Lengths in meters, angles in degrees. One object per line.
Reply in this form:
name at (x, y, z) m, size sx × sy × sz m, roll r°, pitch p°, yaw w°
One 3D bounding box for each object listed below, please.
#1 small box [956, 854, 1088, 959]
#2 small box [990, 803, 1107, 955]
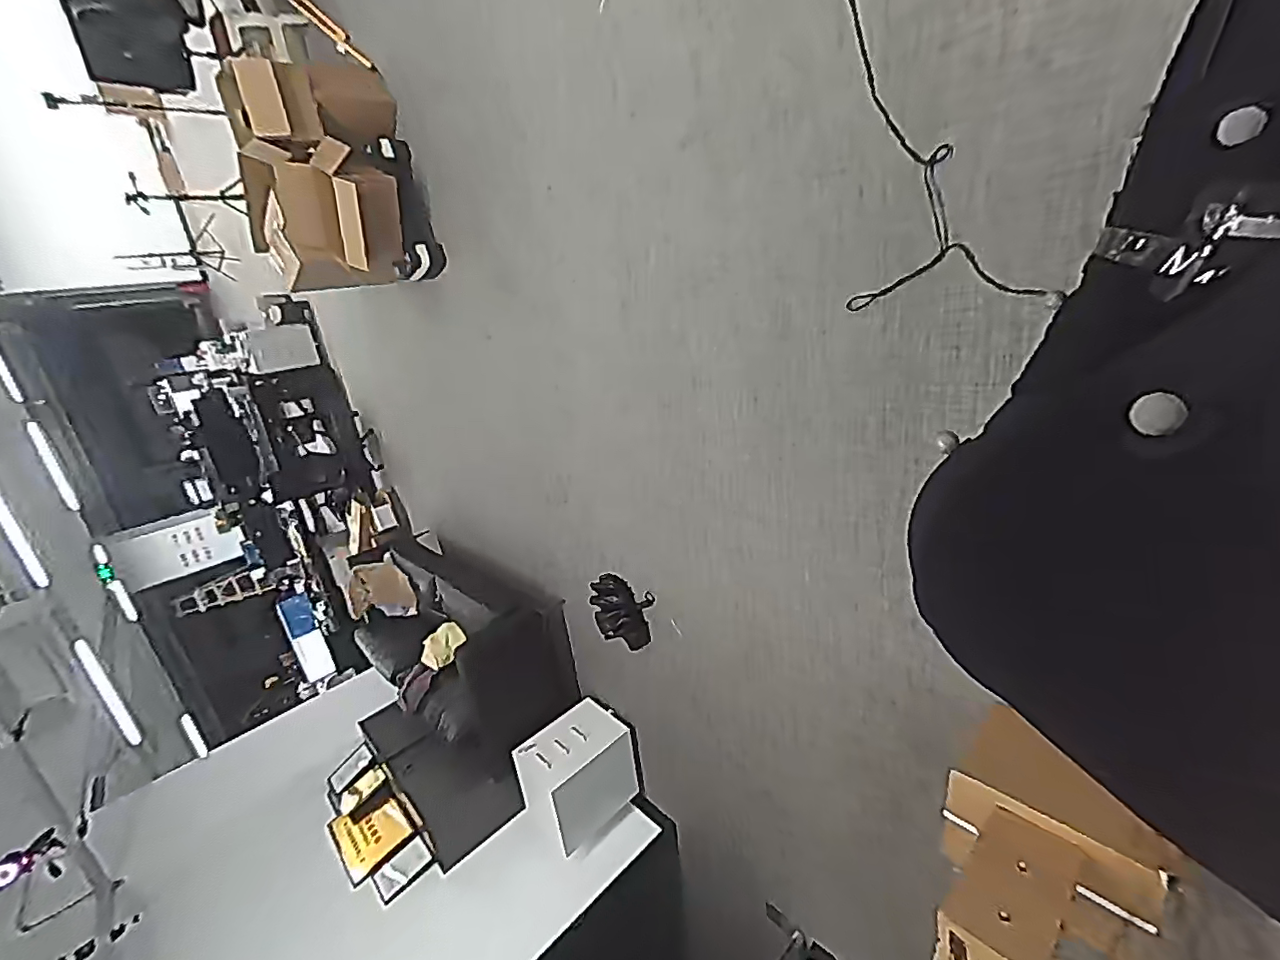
small box at (0.770, 0.911, 1.095) m, size 0.179 × 0.176 × 0.168 m, roll 13°, pitch 118°, yaw 46°
small box at (0.895, 0.863, 1.191) m, size 0.179 × 0.176 × 0.168 m, roll 14°, pitch 119°, yaw 48°
